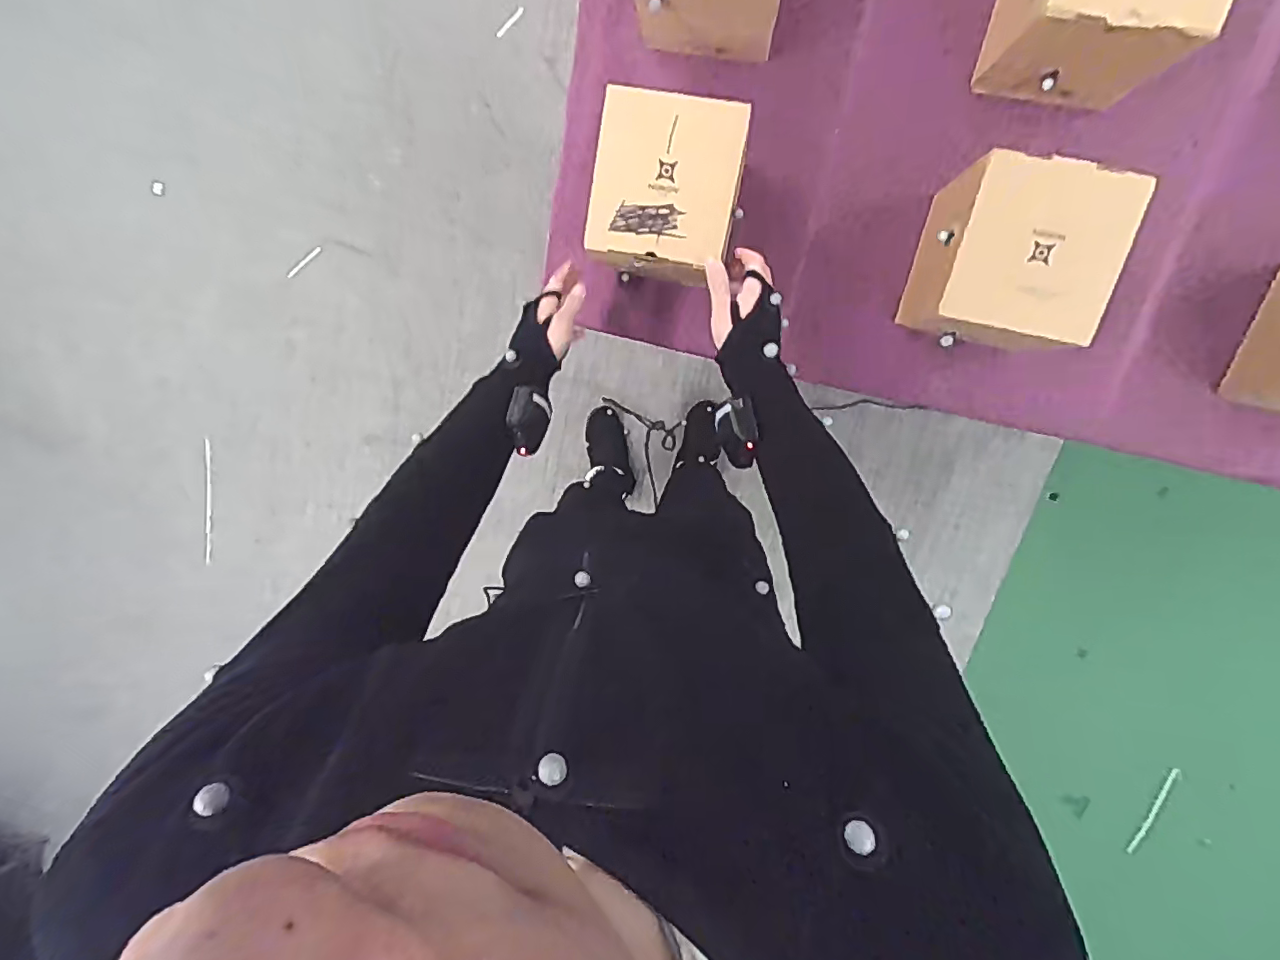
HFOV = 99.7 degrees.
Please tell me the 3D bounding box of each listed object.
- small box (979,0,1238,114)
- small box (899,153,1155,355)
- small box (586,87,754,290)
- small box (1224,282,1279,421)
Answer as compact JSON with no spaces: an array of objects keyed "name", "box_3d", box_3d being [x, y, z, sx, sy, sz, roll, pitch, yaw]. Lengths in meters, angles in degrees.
[{"name":"small box","box_3d":[0.508,-0.539,0.586,0.168,0.176,0.179,12,105,5]},{"name":"small box","box_3d":[0.443,-0.257,0.657,0.168,0.176,0.179,15,103,5]},{"name":"small box","box_3d":[0.041,-0.351,0.687,0.168,0.176,0.179,12,102,4]},{"name":"small box","box_3d":[0.857,-0.148,0.622,0.168,0.176,0.179,17,102,5]}]
